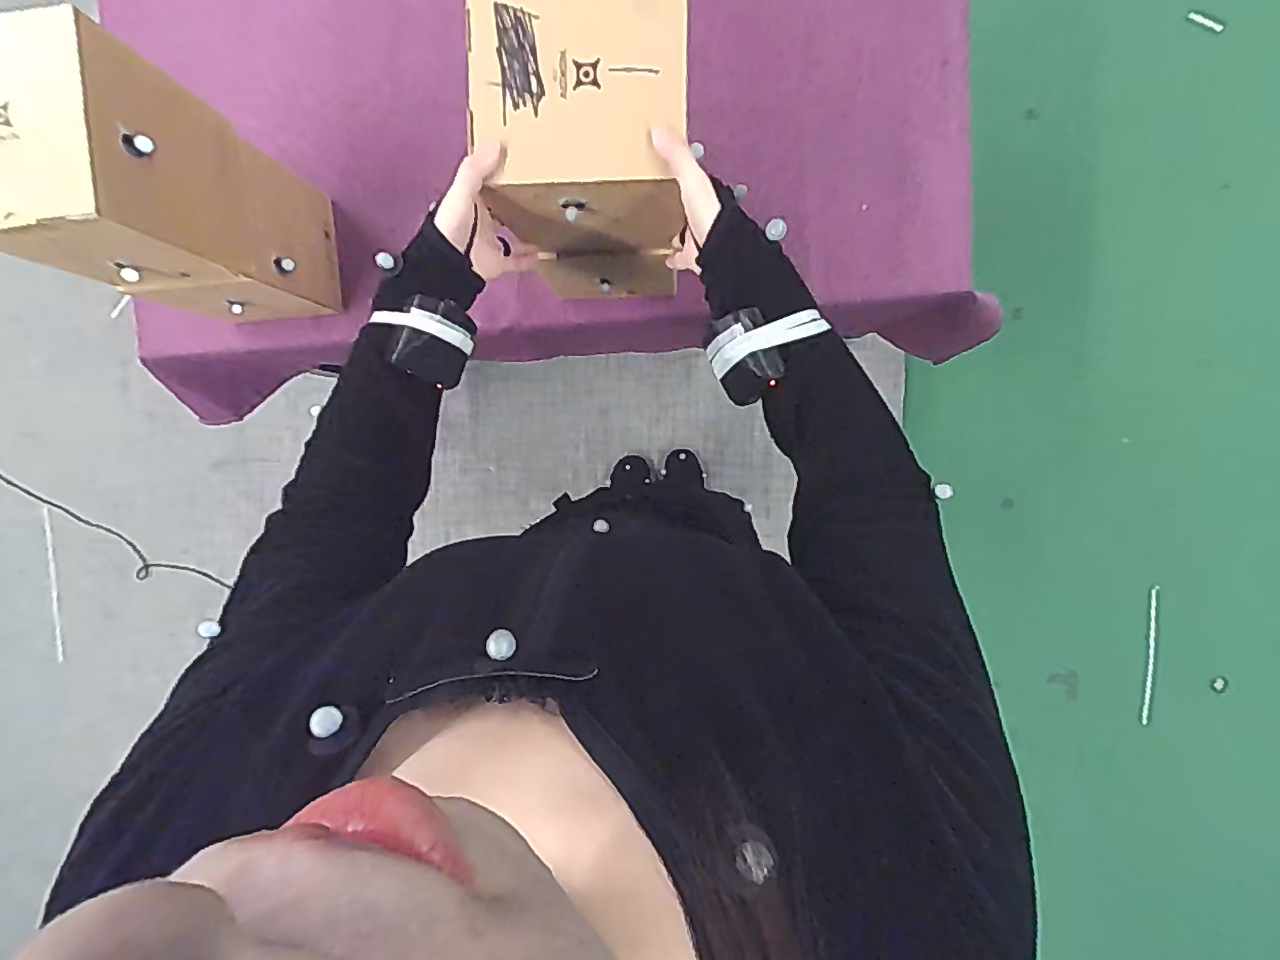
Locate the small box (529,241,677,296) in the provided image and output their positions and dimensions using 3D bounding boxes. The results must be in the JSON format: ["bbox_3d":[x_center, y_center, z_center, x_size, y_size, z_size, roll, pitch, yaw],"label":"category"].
[{"bbox_3d":[-0.037,-0.334,0.672,0.168,0.176,0.179,0,94,4],"label":"small box"}]

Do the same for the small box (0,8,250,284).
[{"bbox_3d":[-0.537,-0.314,0.545,0.168,0.176,0.179,-3,94,4],"label":"small box"}]

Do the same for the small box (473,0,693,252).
[{"bbox_3d":[-0.041,-0.323,0.507,0.179,0.176,0.168,1,96,4],"label":"small box"}]
